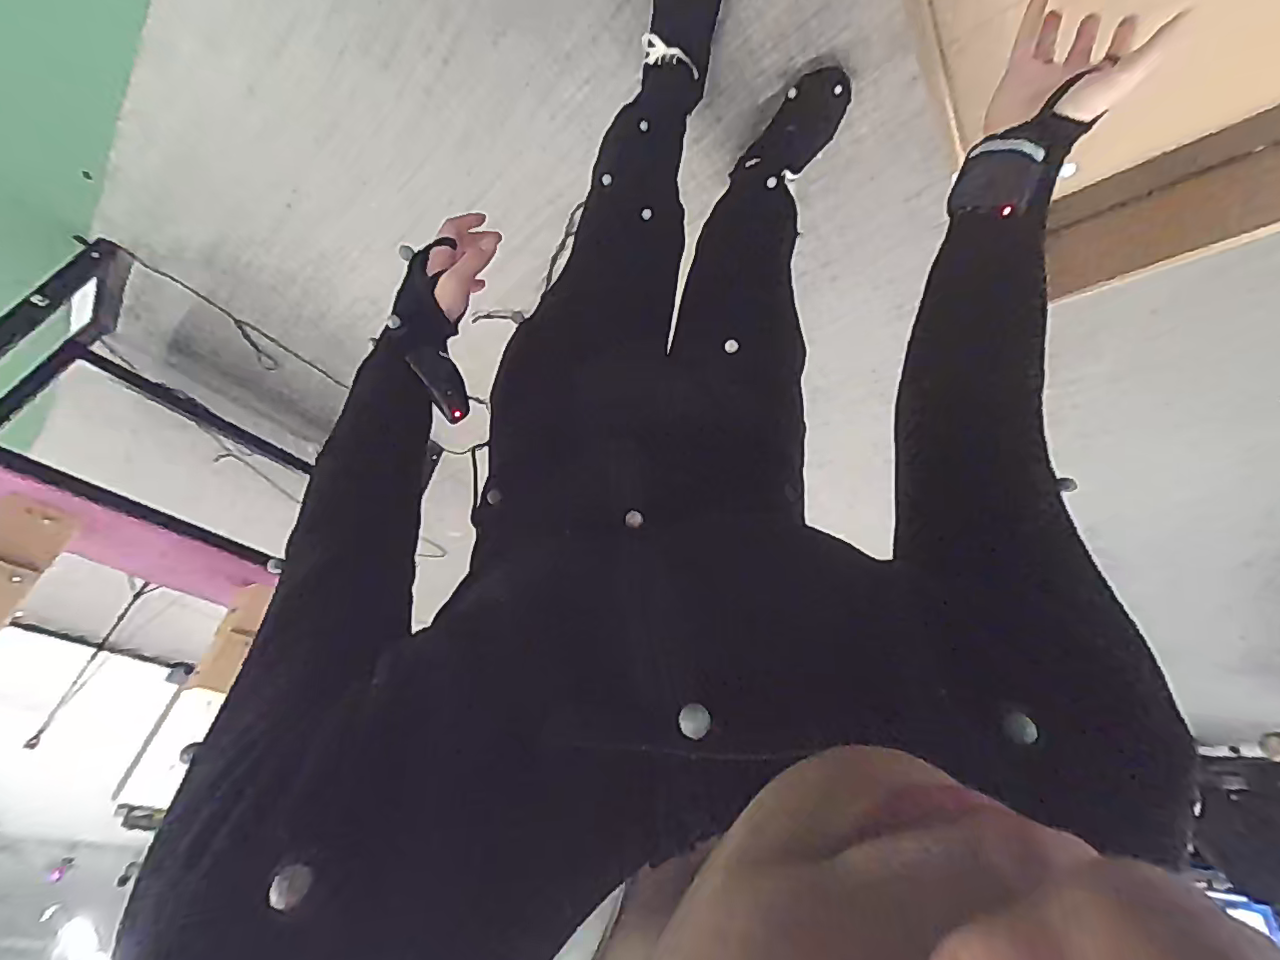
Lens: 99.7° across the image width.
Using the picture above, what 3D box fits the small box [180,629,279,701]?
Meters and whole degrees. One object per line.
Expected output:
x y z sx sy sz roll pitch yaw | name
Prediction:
-1.243 0.563 1.648 0.179 0.176 0.168 -21 134 38 | small box

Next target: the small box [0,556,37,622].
-1.660 0.272 1.339 0.179 0.176 0.168 -19 138 39 | small box

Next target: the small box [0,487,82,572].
-1.649 0.141 1.439 0.179 0.176 0.168 -18 138 37 | small box
